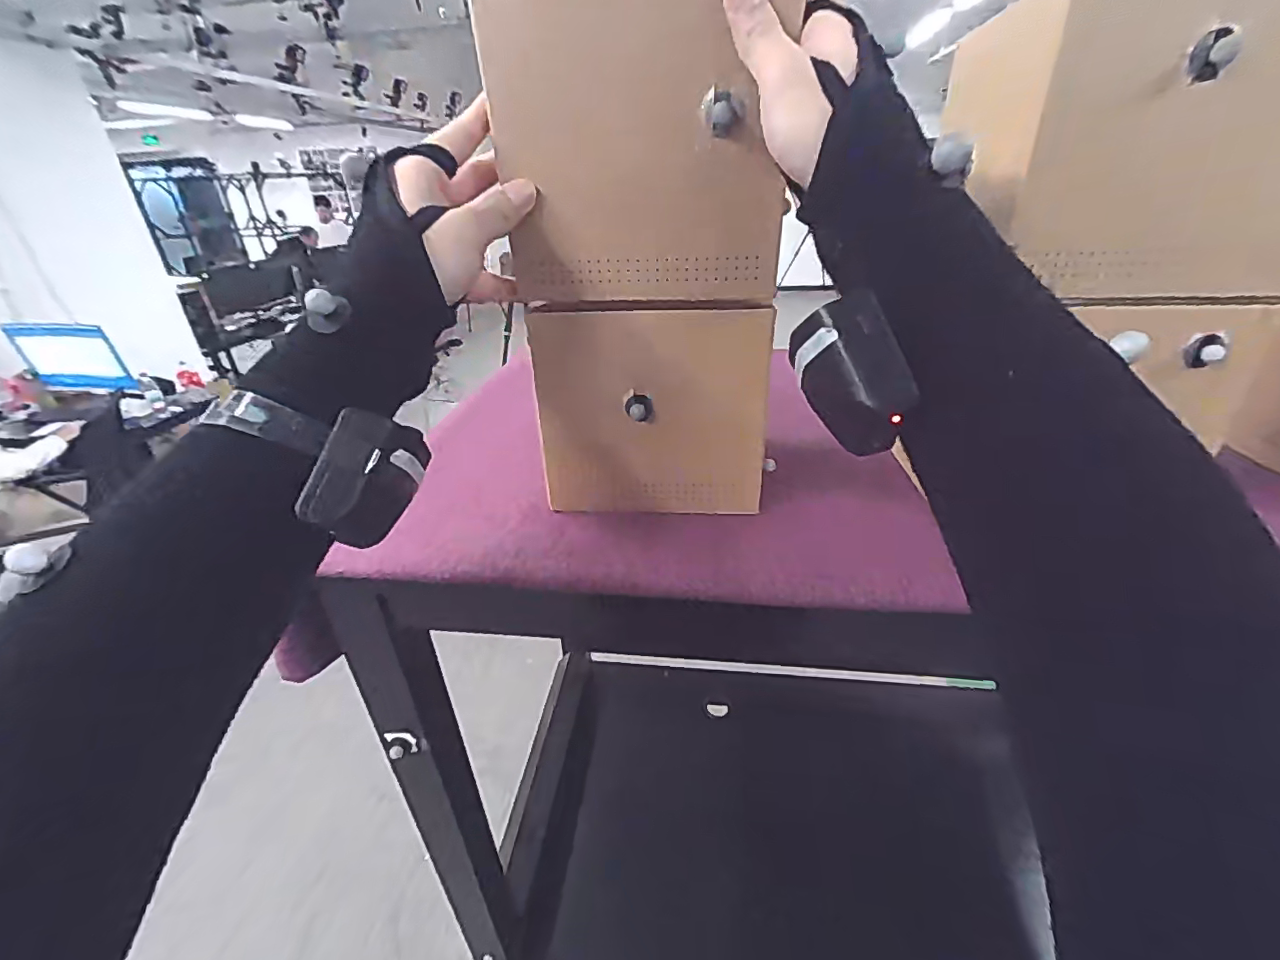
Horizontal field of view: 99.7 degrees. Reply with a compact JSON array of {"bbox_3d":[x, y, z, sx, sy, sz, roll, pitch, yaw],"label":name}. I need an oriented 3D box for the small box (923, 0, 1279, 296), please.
[{"bbox_3d":[0.315,-0.223,0.372,0.179,0.176,0.168,2,29,7],"label":"small box"}]

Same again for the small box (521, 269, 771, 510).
[{"bbox_3d":[0.013,-0.083,0.478,0.179,0.176,0.168,0,28,6],"label":"small box"}]

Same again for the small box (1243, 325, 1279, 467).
[{"bbox_3d":[0.624,-0.067,0.401,0.179,0.176,0.168,3,29,11],"label":"small box"}]
